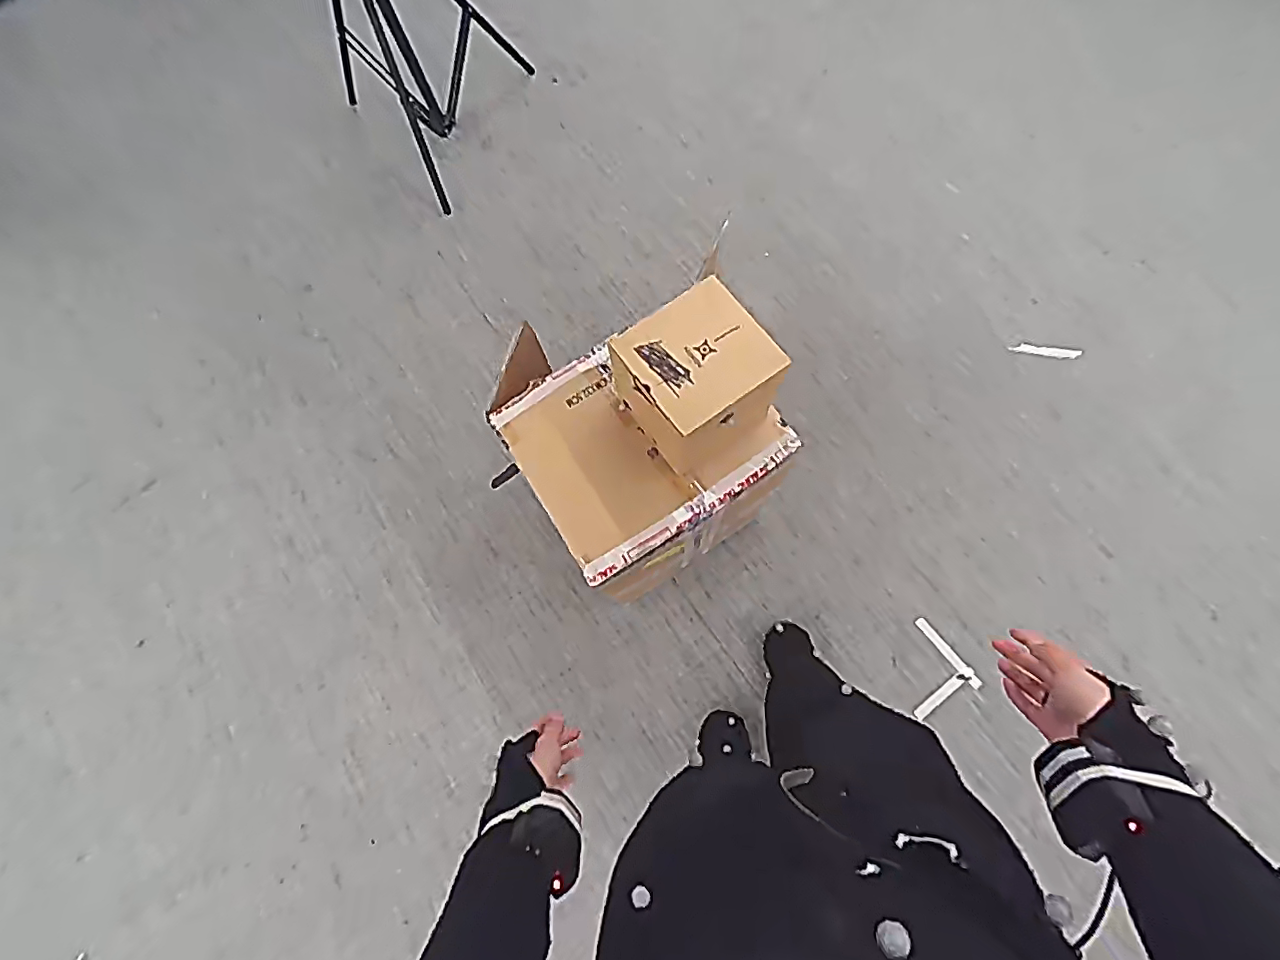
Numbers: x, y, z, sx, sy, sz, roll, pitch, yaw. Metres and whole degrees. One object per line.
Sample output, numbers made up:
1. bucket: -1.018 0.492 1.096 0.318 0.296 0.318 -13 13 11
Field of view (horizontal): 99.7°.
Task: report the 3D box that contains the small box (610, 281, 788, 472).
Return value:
1. small box: 0.079 -0.136 0.774 0.179 0.176 0.168 -35 76 -8
